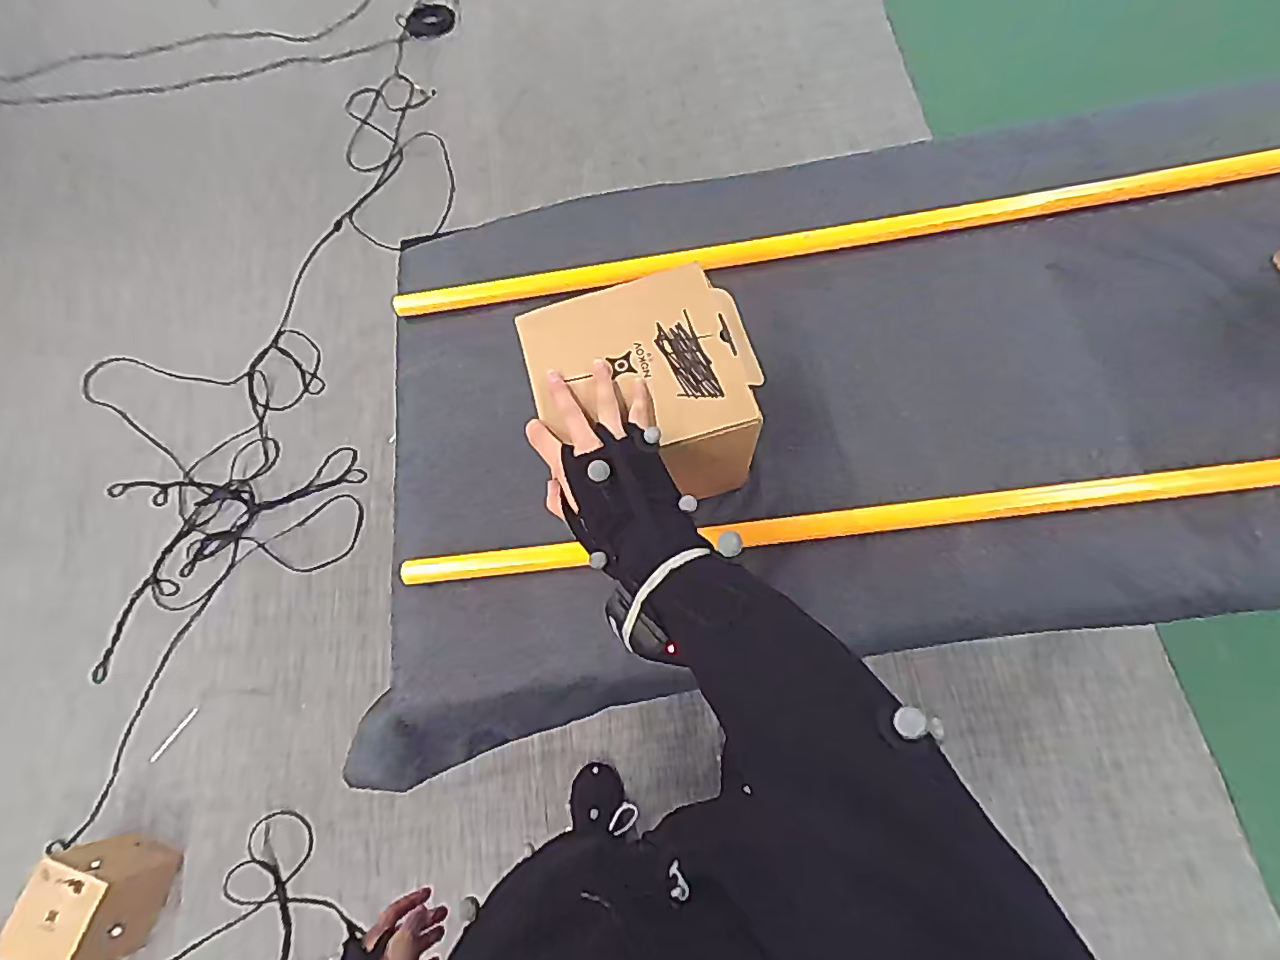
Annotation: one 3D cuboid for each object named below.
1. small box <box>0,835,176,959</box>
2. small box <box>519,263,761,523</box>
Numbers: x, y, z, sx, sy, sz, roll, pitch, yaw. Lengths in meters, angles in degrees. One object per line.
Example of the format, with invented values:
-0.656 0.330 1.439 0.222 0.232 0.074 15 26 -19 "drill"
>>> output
-1.107 0.859 1.094 0.168 0.176 0.179 12 72 10 "small box"
0.001 -0.073 0.533 0.179 0.176 0.168 -17 69 0 "small box"
